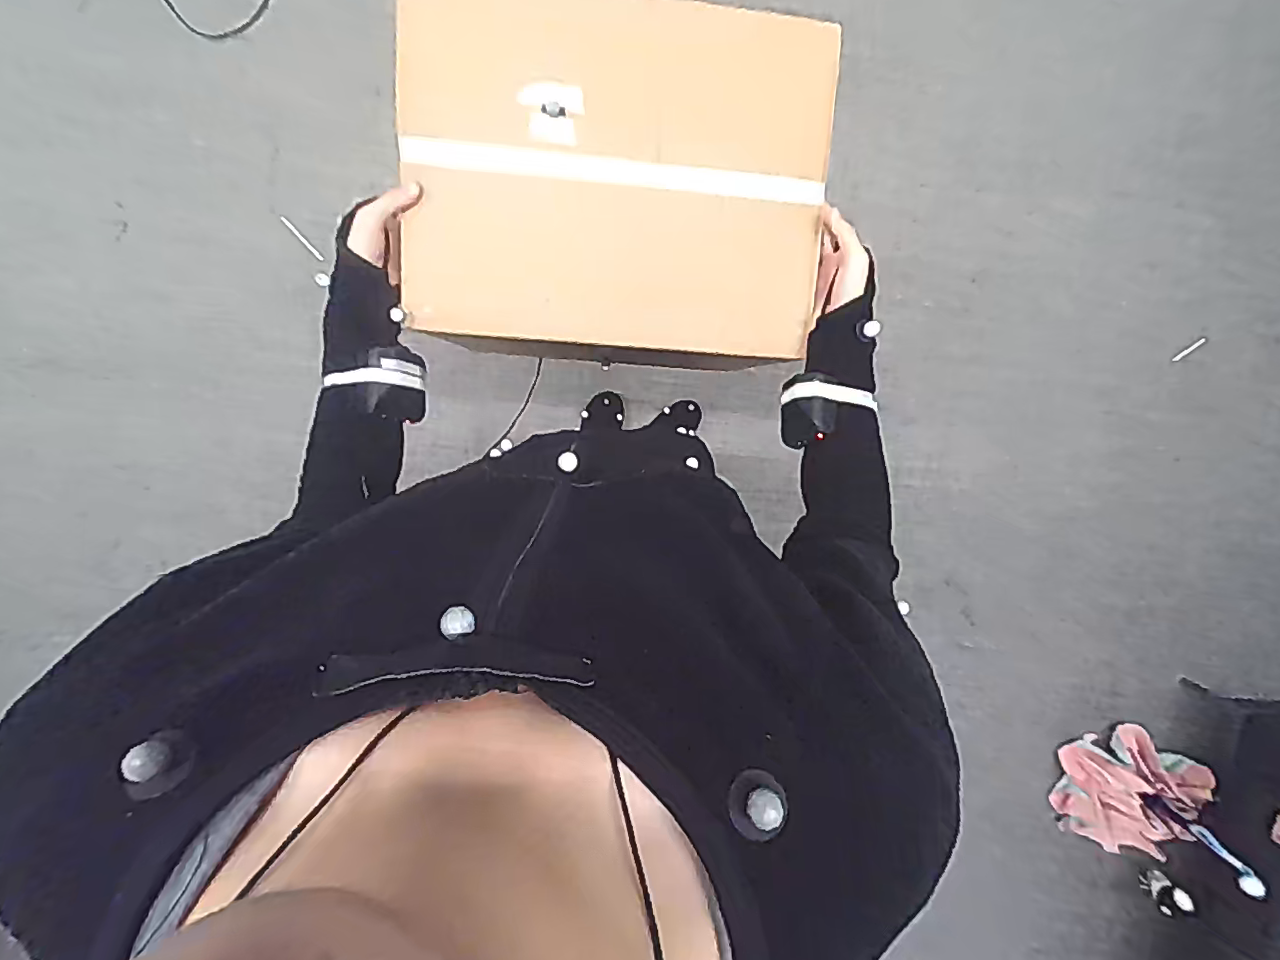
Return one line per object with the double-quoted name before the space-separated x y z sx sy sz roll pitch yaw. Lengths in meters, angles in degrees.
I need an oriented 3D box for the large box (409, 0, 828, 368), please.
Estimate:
"large box" -0.030 -0.309 0.675 0.408 0.320 0.320 3 97 -5
